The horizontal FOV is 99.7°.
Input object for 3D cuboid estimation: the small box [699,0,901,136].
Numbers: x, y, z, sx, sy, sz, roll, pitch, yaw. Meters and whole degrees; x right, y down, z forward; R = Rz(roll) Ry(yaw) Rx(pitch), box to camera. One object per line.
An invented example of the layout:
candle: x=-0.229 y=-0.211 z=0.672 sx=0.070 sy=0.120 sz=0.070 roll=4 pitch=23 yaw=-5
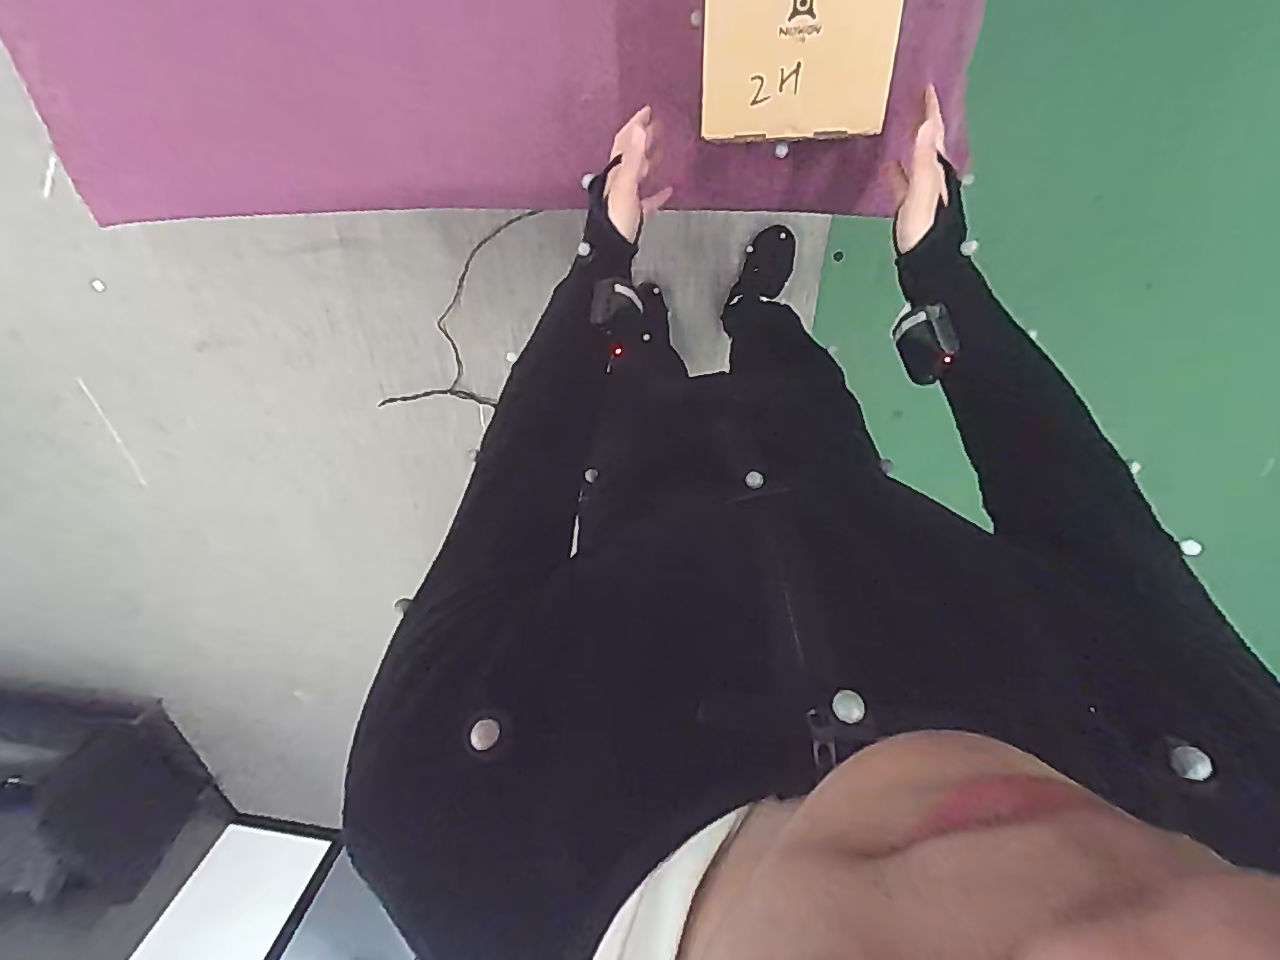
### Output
small box: x=0.149 y=-0.443 z=0.526 sx=0.168 sy=0.176 sz=0.179 roll=5 pitch=122 yaw=9
